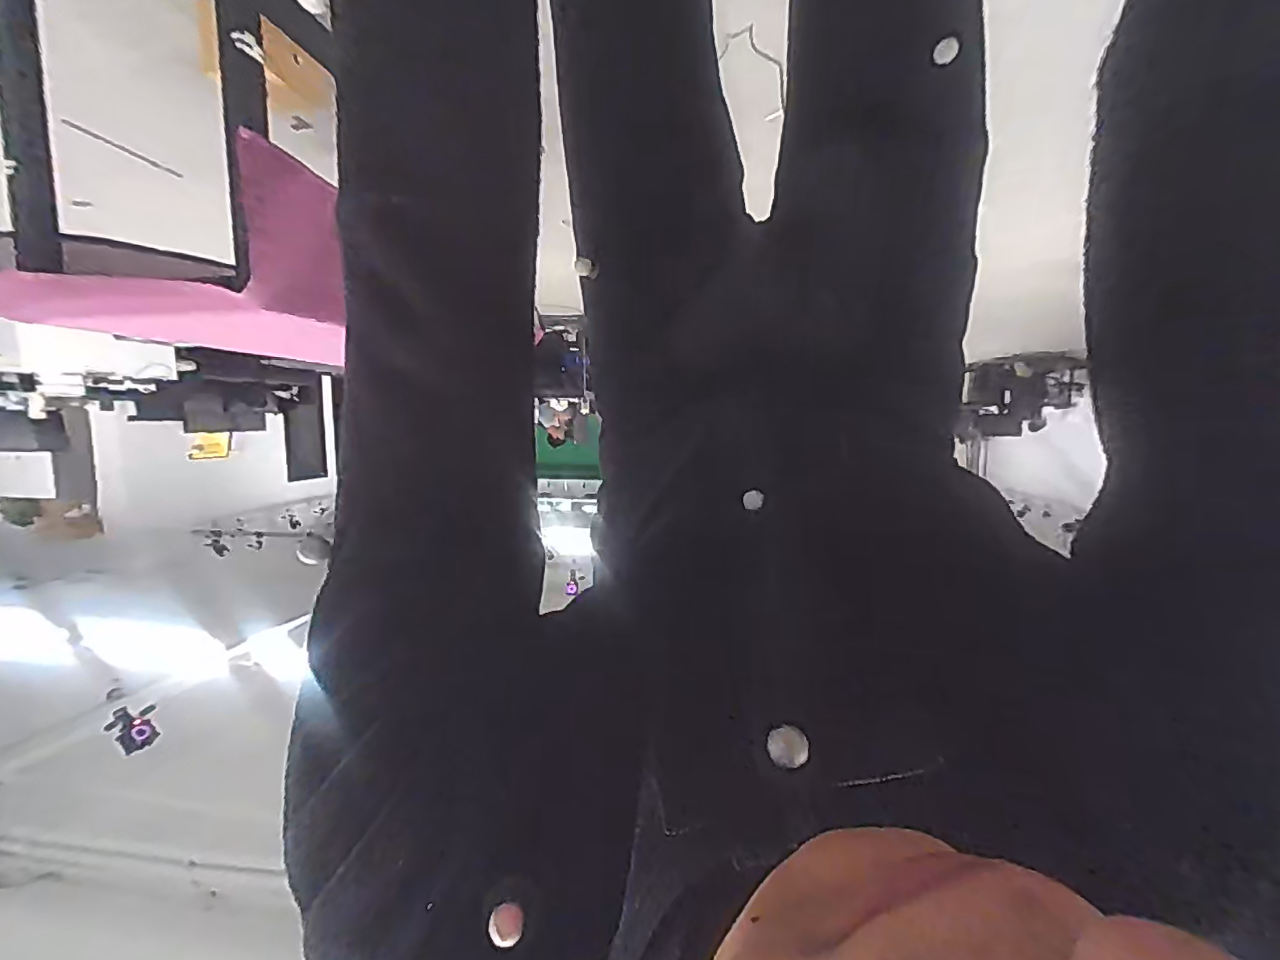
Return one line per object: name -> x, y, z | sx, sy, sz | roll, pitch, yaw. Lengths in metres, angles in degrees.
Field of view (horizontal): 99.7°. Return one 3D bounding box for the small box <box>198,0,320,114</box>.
small box -> -0.895, -1.007, 1.275 | 0.168, 0.176, 0.179 | 1, -173, 8
